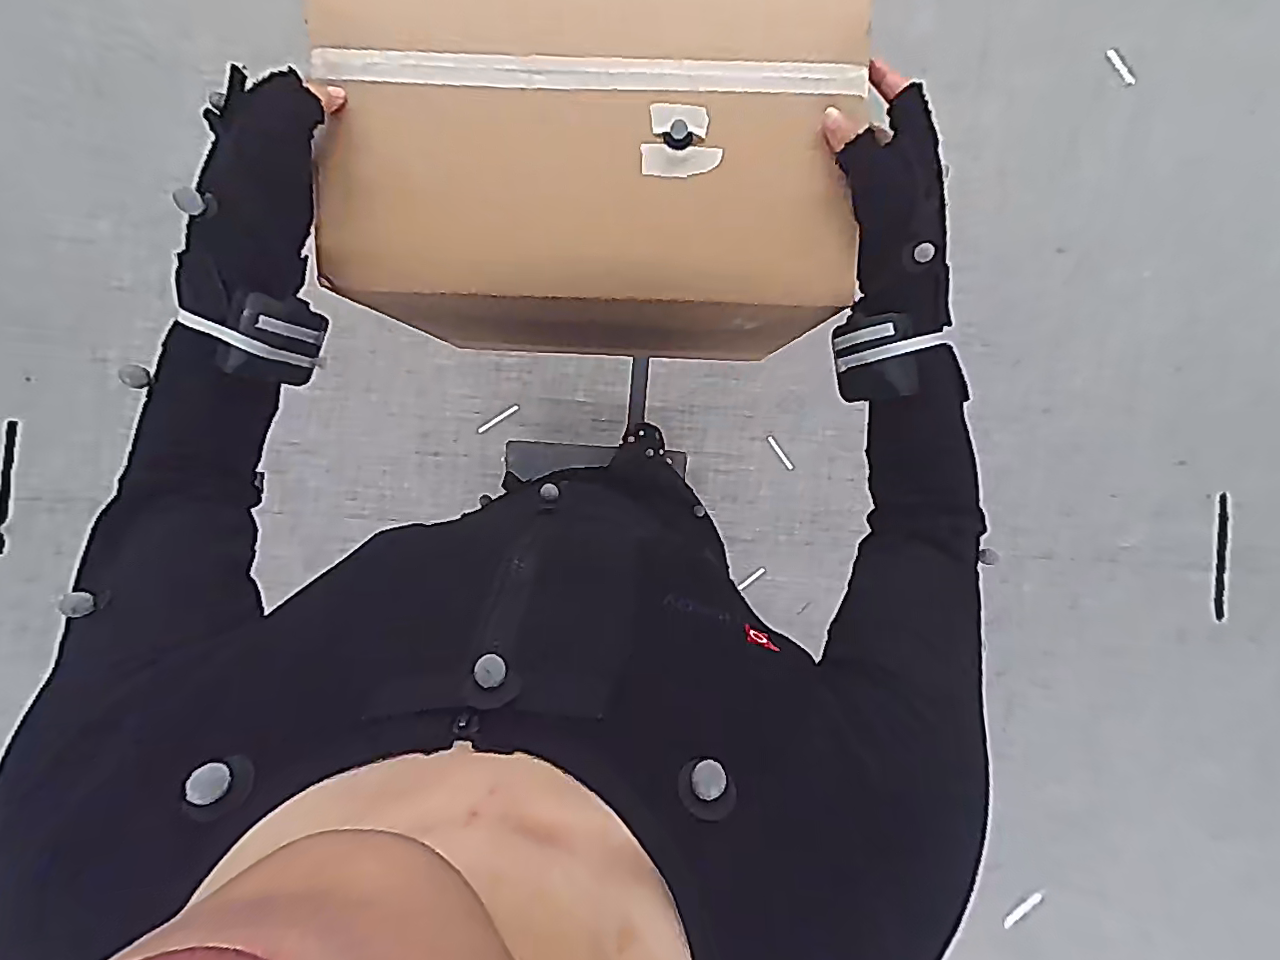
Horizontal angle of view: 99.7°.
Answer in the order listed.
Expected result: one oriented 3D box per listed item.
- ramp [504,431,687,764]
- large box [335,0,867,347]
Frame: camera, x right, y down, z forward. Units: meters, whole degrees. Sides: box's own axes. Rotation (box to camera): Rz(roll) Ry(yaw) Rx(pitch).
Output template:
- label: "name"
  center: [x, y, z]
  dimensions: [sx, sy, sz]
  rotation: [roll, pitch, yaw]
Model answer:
- label: "ramp"
  center: [-0.140, 0.366, 1.556]
  dimensions: [0.509, 0.206, 0.991]
  rotation: [2, 91, -2]
- label: "large box"
  center: [-0.033, -0.318, 0.555]
  dimensions: [0.408, 0.320, 0.320]
  rotation: [2, 96, -1]
